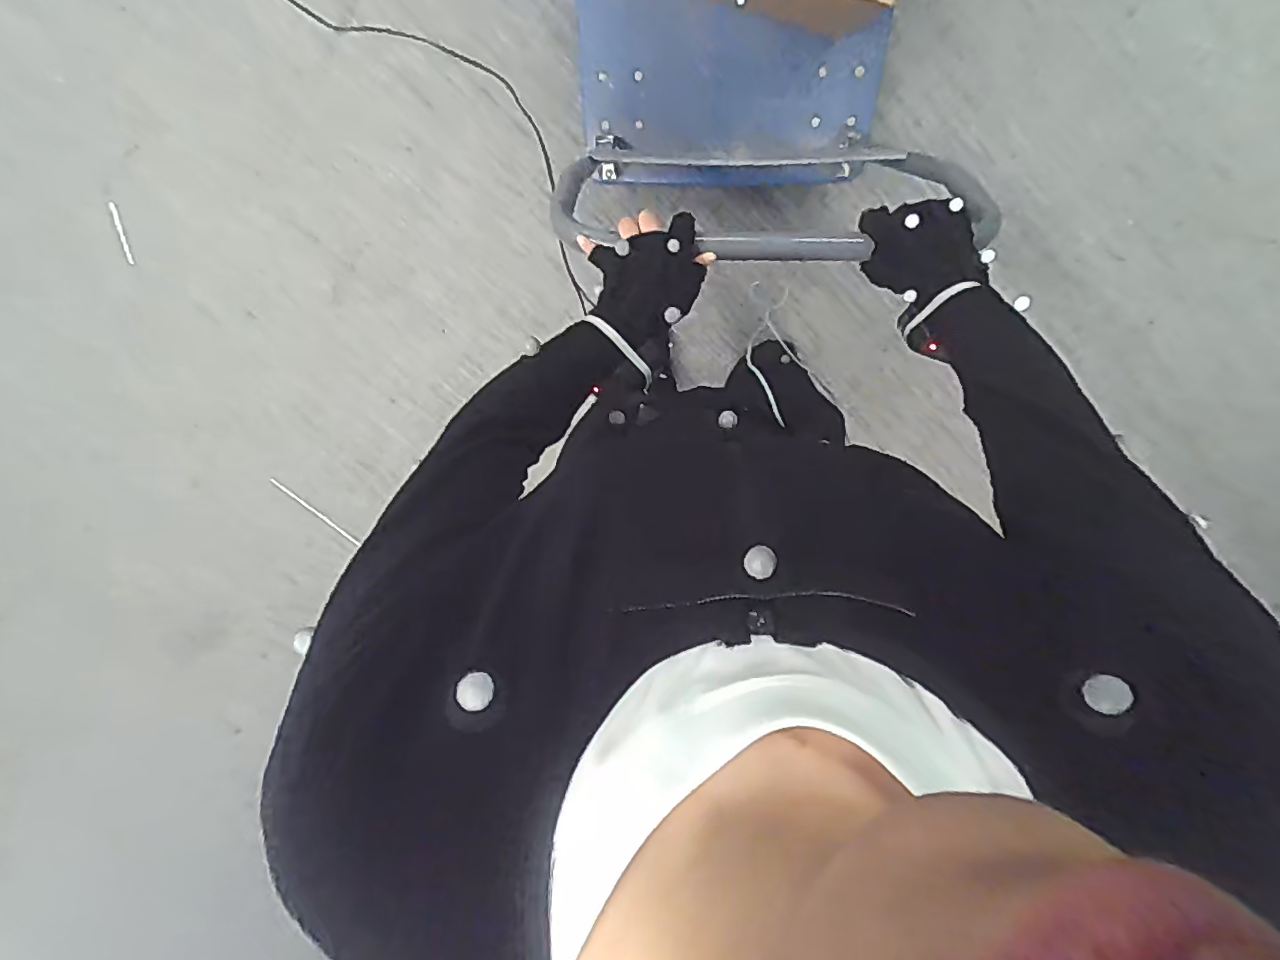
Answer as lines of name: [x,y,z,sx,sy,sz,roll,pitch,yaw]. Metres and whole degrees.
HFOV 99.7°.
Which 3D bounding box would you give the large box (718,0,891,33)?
large box: [0.201,-0.905,0.782,0.408,0.320,0.320,14,123,-4]
